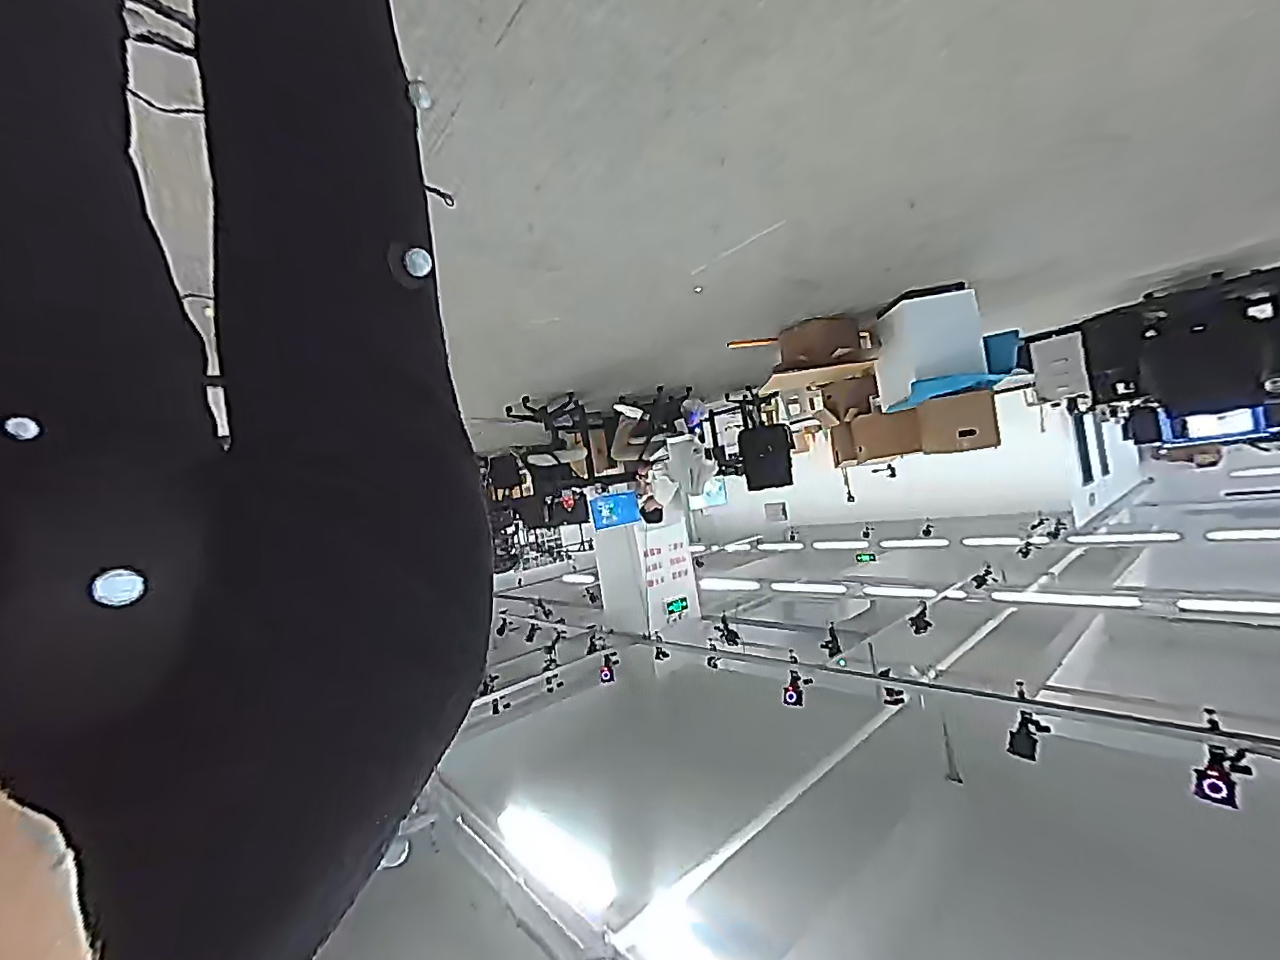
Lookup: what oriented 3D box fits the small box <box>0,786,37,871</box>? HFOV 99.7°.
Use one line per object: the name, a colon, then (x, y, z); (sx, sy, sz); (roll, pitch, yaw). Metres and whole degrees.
small box: (-1.849, 1.008, 1.531); (0.168, 0.176, 0.179); (-9, -179, -45)
